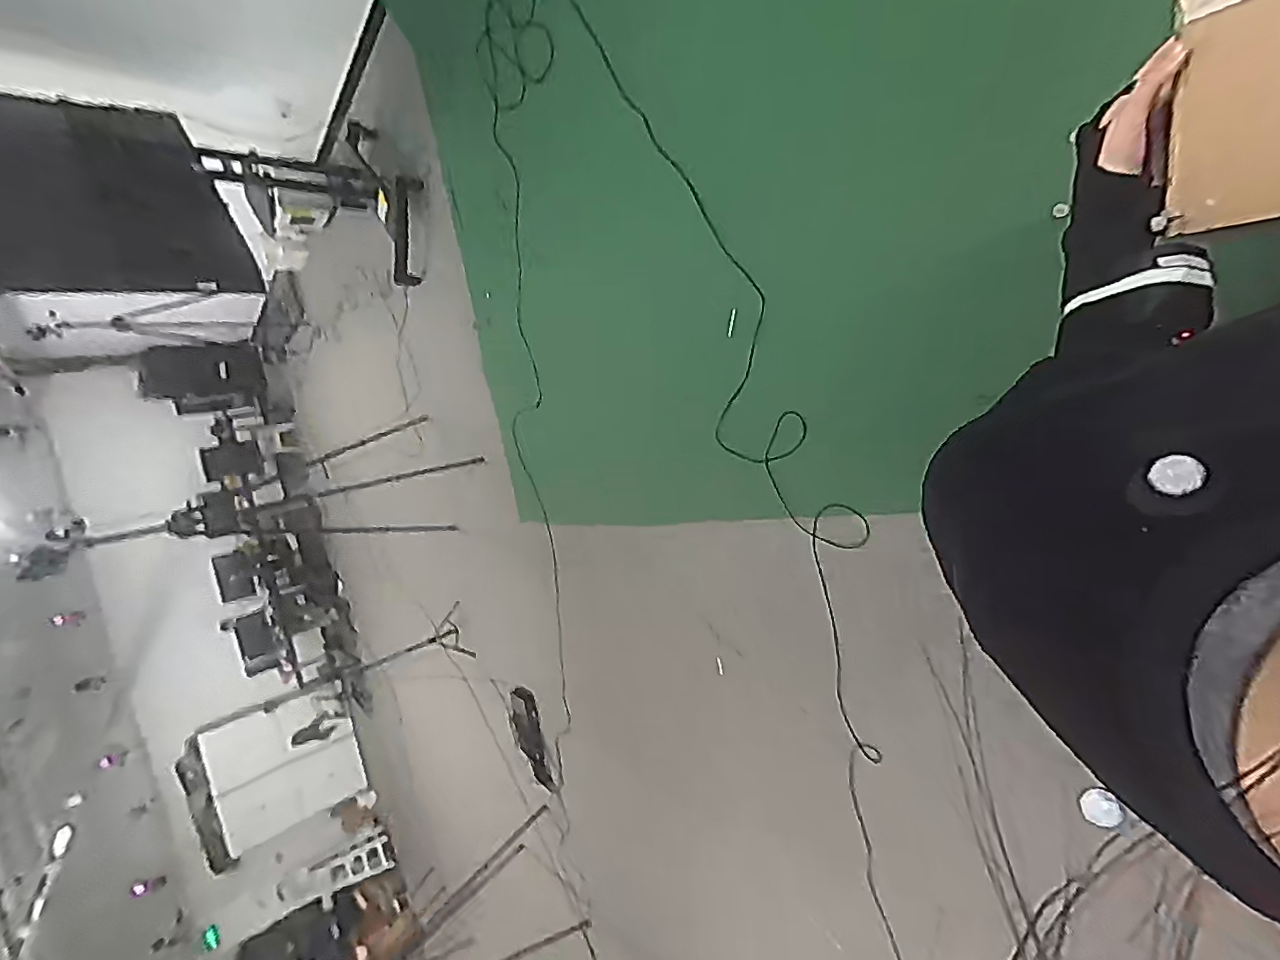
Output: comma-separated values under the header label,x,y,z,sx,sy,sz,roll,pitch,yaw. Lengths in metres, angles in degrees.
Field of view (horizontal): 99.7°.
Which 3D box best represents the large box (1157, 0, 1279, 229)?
label,x,y,z,sx,sy,sz,roll,pitch,yaw
large box,0.650,-0.384,0.366,0.408,0.320,0.320,7,110,46
